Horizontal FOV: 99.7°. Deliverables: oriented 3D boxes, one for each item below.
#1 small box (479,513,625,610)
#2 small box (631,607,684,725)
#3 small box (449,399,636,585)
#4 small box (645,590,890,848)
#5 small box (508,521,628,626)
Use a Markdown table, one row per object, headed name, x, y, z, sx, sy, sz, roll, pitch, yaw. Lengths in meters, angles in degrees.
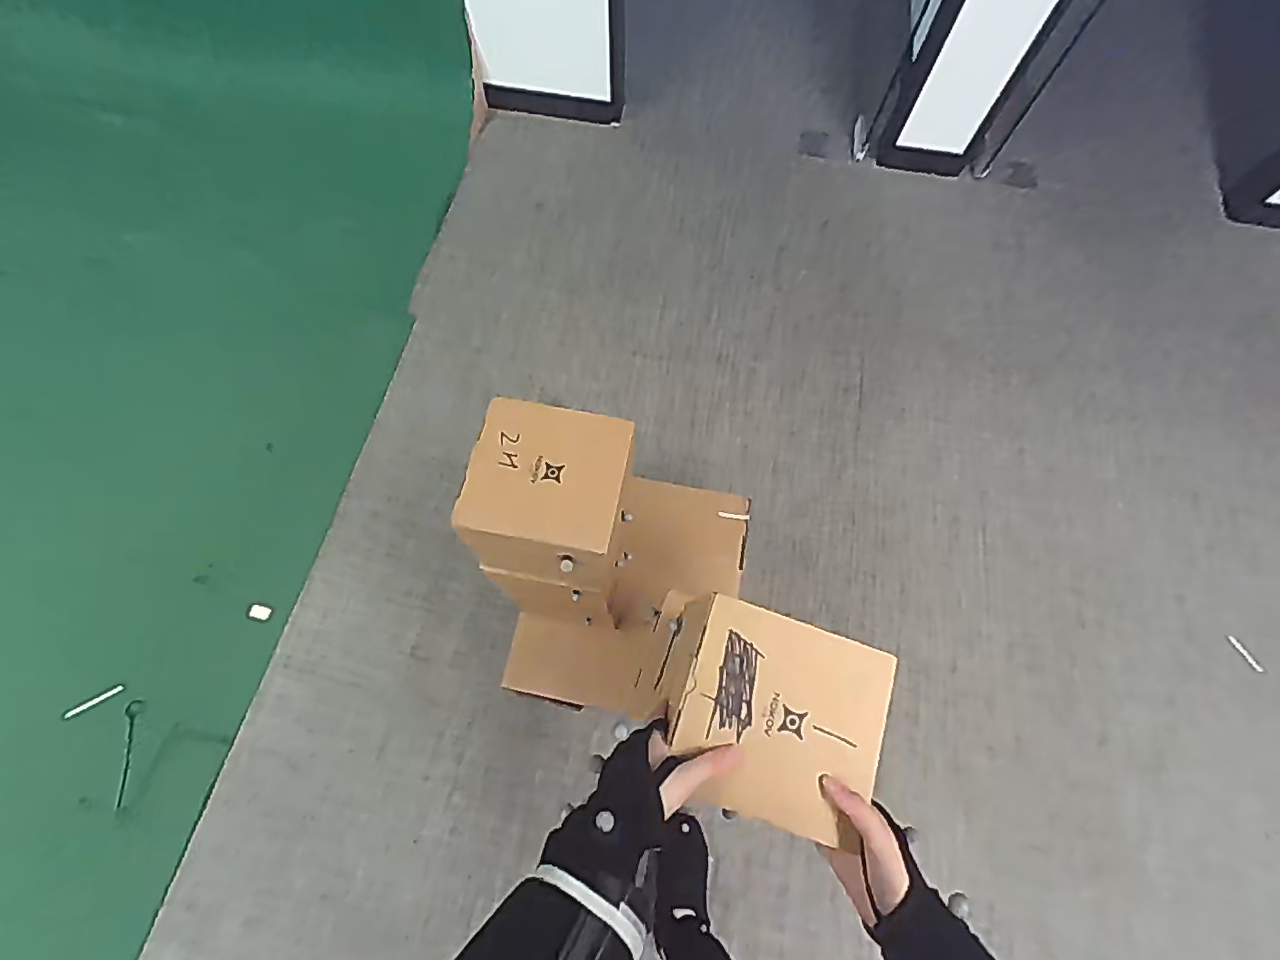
| name | x | y | z | sx | sy | sz | roll | pitch | yaw |
| --- | --- | --- | --- | --- | --- | --- | --- | --- | --- |
| small box | -0.122 | 0.094 | 0.829 | 0.179 | 0.176 | 0.168 | 10 | 66 | 1 |
| small box | 0.082 | 0.333 | 0.908 | 0.168 | 0.176 | 0.179 | 14 | 67 | 4 |
| small box | -0.108 | 0.025 | 0.679 | 0.179 | 0.176 | 0.168 | 11 | 65 | 3 |
| small box | 0.112 | 0.224 | 0.542 | 0.179 | 0.176 | 0.168 | 20 | 73 | 1 |
| small box | -0.119 | 0.162 | 0.977 | 0.179 | 0.176 | 0.168 | 8 | 66 | 3 |
